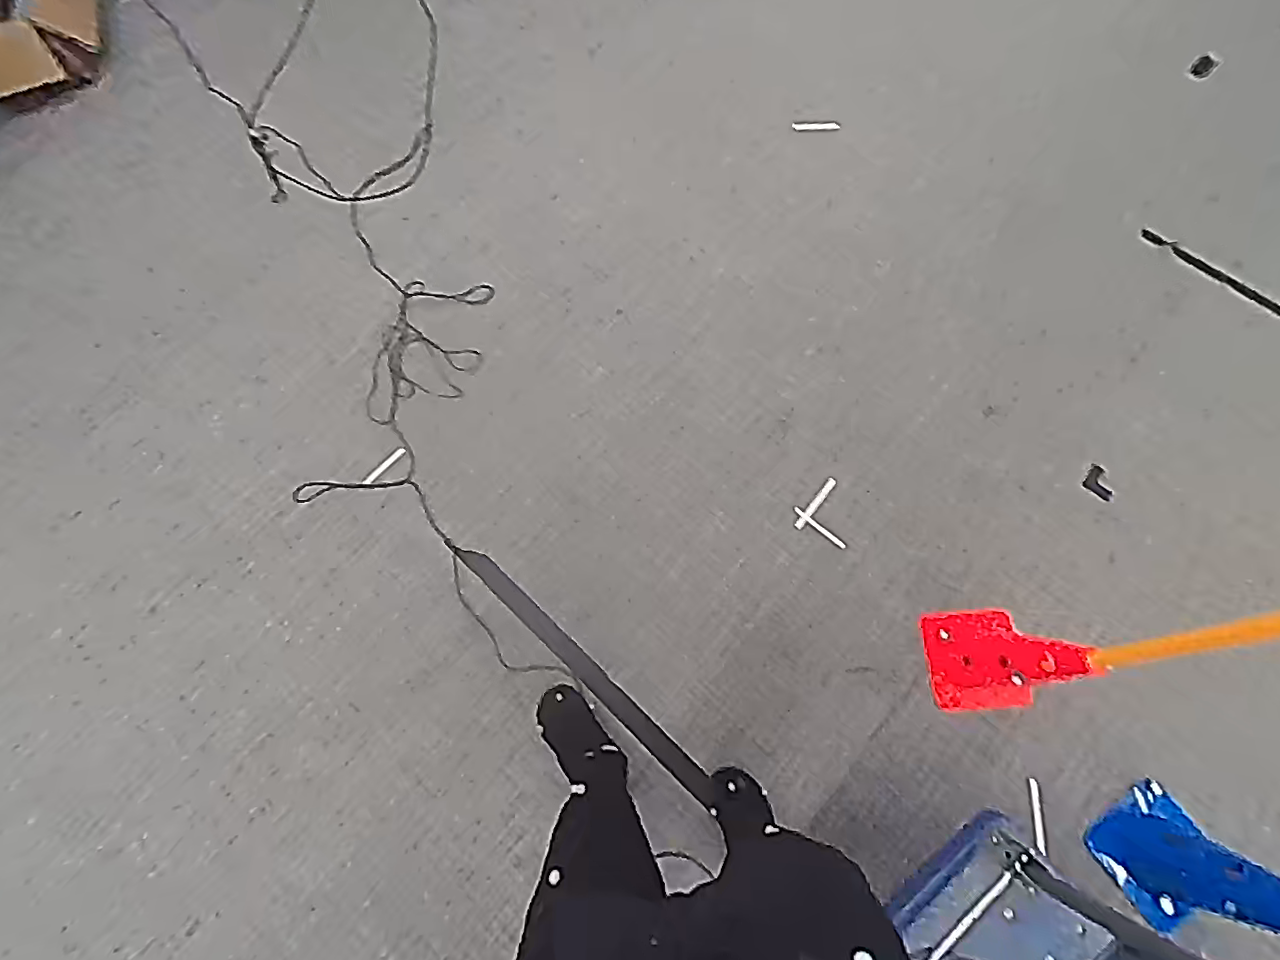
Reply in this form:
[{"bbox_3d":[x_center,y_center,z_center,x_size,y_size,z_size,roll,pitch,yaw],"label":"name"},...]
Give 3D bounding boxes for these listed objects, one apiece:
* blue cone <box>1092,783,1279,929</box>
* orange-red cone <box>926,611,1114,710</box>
[{"bbox_3d":[0.981,0.662,0.875,0.193,0.380,0.192,-32,72,-7],"label":"blue cone"},{"bbox_3d":[0.710,0.329,0.985,0.198,0.360,0.199,-4,73,3],"label":"orange-red cone"}]
